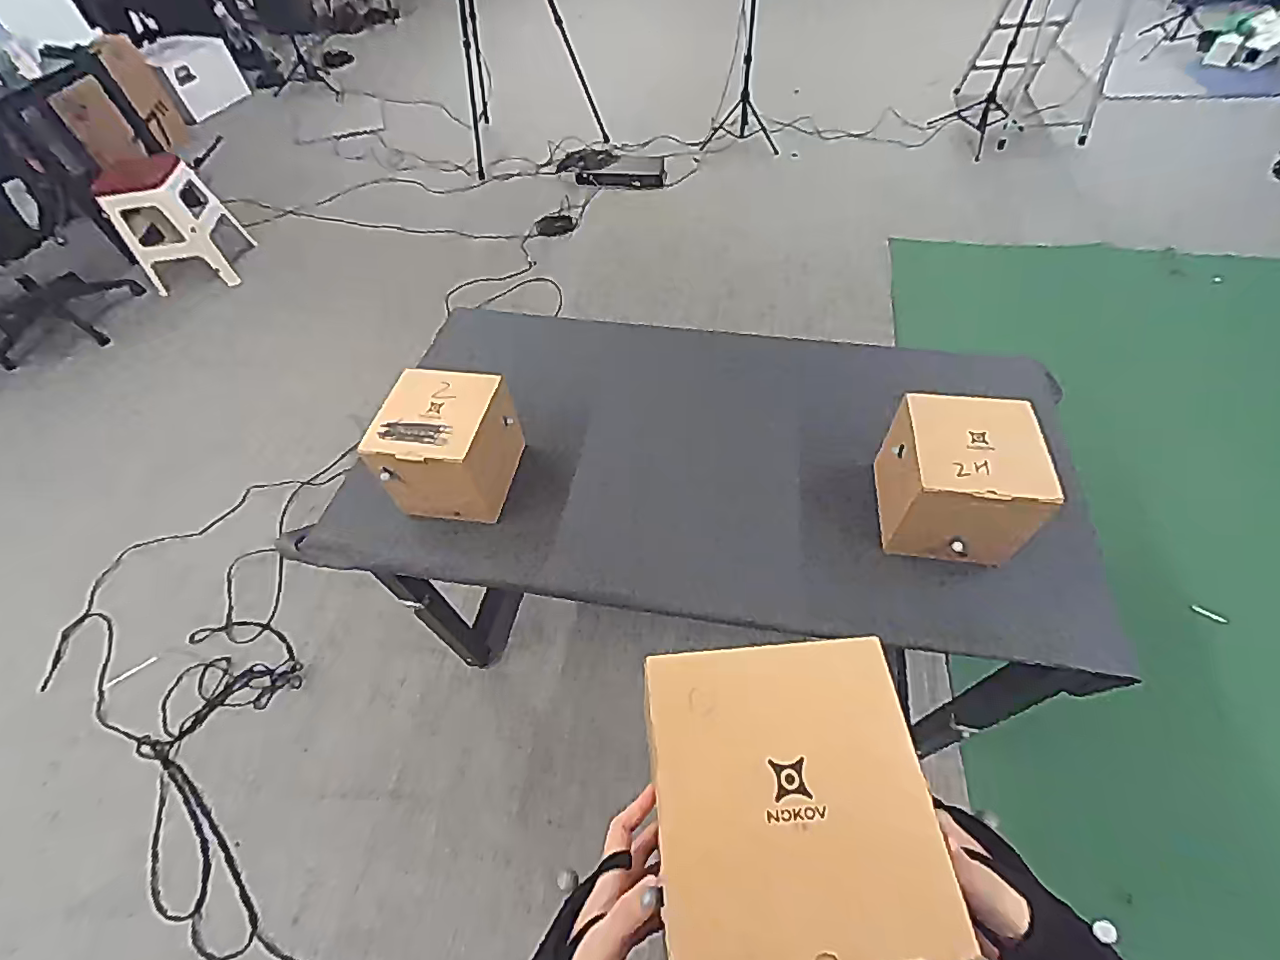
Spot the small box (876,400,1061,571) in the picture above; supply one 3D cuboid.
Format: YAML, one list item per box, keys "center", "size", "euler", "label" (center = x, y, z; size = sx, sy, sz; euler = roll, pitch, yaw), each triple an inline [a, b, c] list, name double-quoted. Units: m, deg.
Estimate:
- center: [0.453, 0.008, 0.781]
  size: [0.168, 0.176, 0.179]
  euler: [5, 54, 10]
  label: "small box"

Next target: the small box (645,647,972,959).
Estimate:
- center: [0.091, 0.241, 0.399]
  size: [0.168, 0.176, 0.179]
  euler: [-5, 55, -2]
  label: "small box"
